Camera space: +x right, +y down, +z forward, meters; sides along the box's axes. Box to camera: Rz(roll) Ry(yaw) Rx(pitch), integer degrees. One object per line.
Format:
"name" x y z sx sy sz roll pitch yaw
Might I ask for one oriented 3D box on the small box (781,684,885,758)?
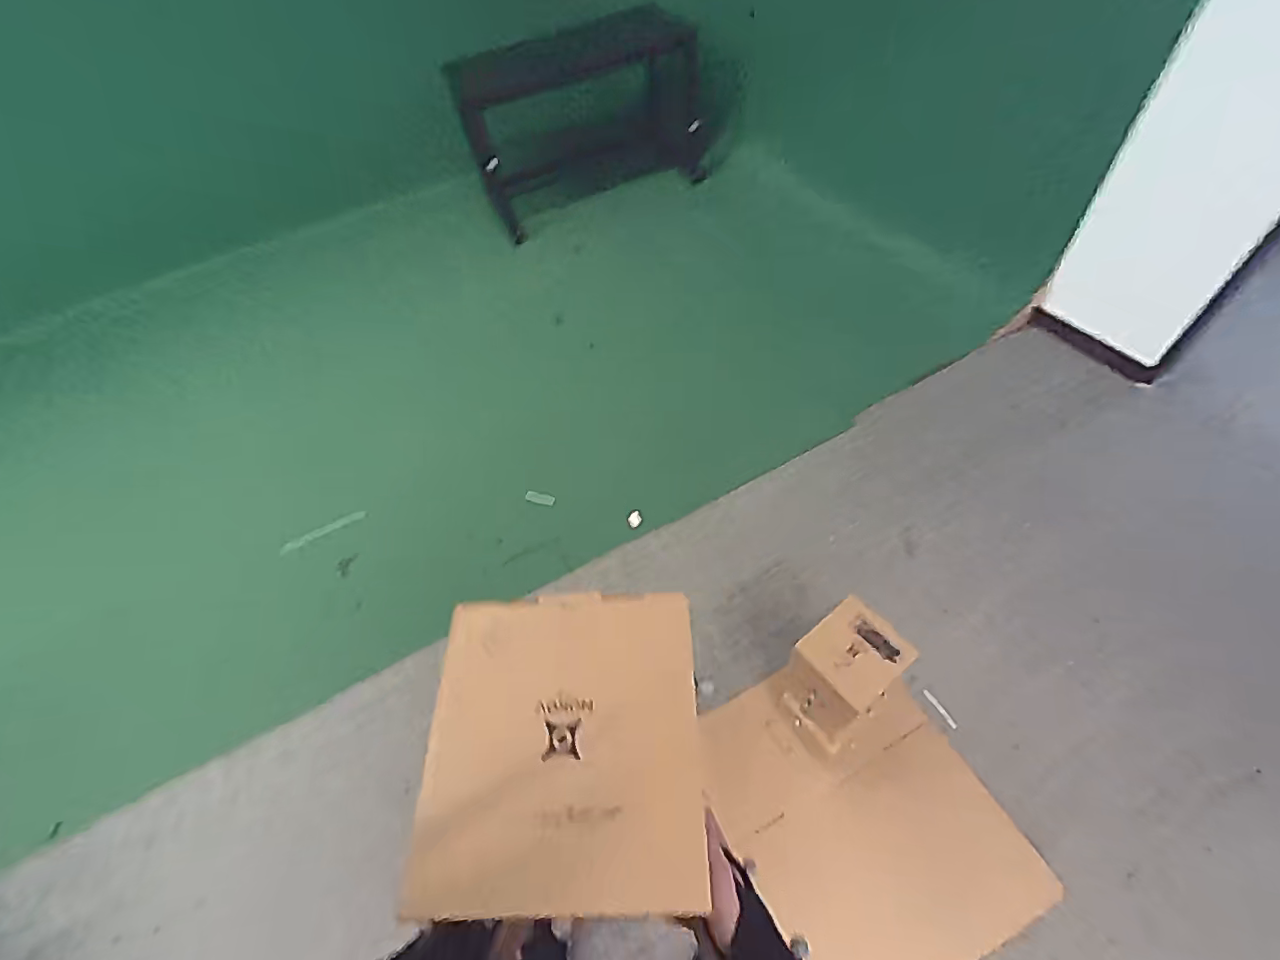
"small box" 0.477 0.570 1.367 0.179 0.176 0.168 -32 56 -15

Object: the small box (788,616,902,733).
"small box" 0.461 0.454 1.249 0.179 0.176 0.168 -31 57 -15
